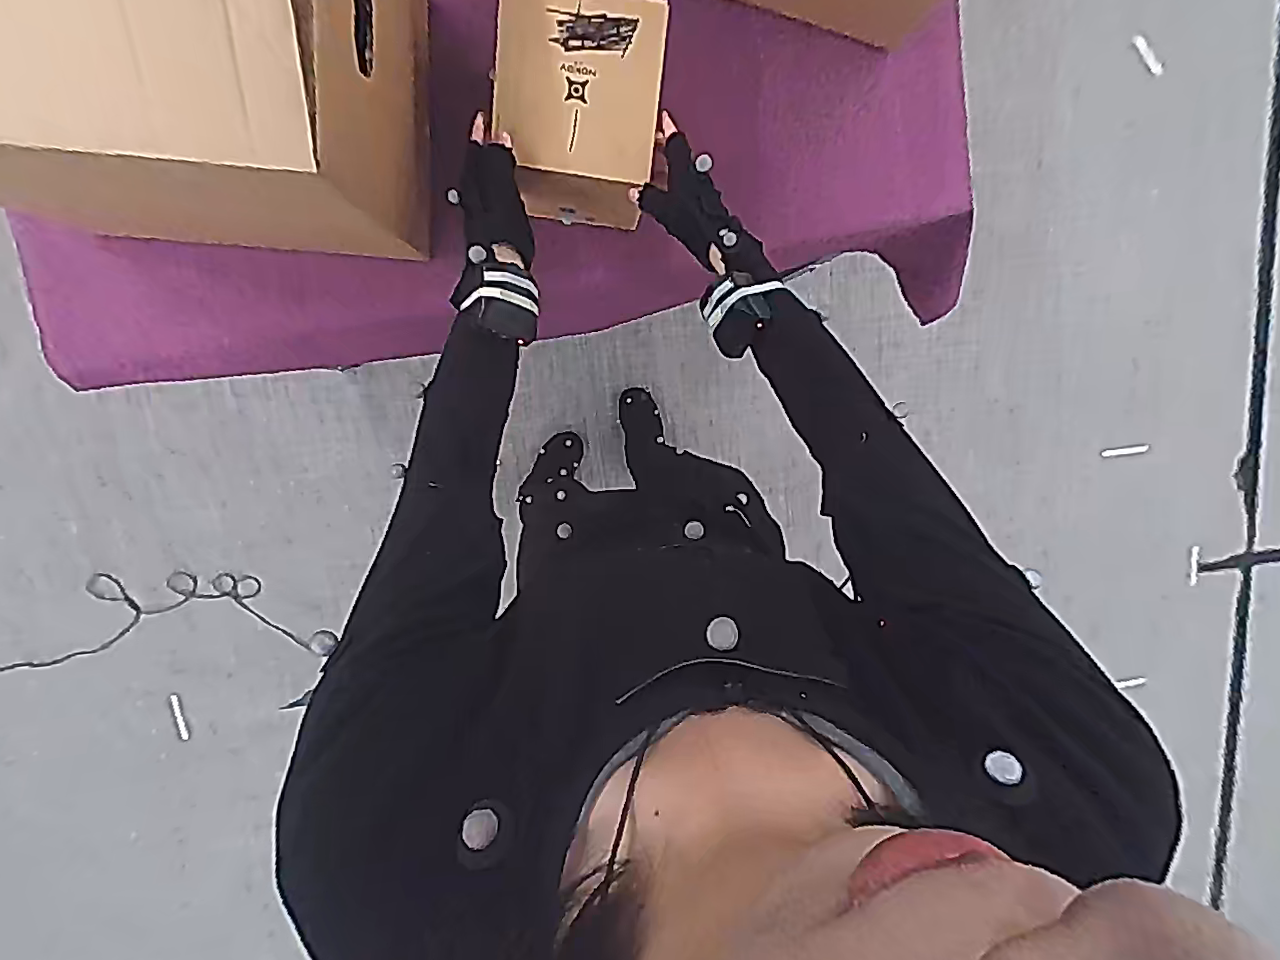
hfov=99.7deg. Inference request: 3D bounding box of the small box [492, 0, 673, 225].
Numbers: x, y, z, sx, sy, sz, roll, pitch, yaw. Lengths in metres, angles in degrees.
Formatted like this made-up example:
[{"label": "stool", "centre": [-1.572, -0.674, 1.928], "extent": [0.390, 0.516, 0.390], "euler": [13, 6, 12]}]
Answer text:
[{"label": "small box", "centre": [-0.066, -0.413, 0.609], "extent": [0.168, 0.176, 0.179], "euler": [5, 100, -7]}]
